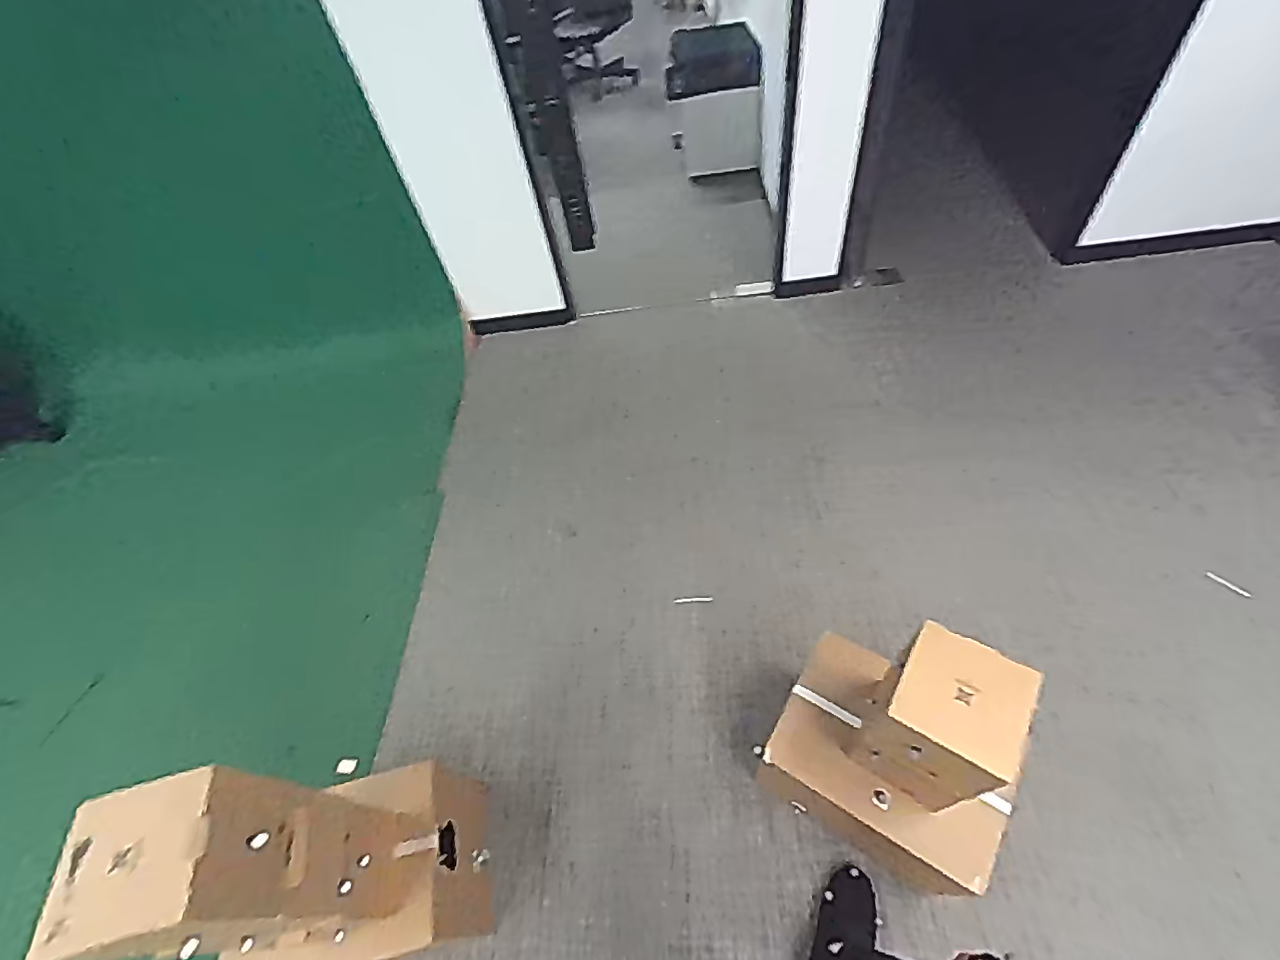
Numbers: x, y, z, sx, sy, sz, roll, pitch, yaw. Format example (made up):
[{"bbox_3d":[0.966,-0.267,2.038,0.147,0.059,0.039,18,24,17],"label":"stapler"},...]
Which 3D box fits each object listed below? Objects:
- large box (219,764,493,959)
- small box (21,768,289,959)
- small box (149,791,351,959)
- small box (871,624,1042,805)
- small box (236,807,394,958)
[{"bbox_3d":[-0.566,0.855,1.149,0.408,0.320,0.320,-16,50,-2],"label":"large box"},{"bbox_3d":[-0.598,0.497,0.701,0.179,0.176,0.168,-14,51,-3],"label":"small box"},{"bbox_3d":[-0.574,0.599,0.828,0.179,0.176,0.168,-16,51,-3],"label":"small box"},{"bbox_3d":[0.476,0.364,0.835,0.168,0.176,0.179,25,58,26],"label":"small box"},{"bbox_3d":[-0.555,0.703,0.953,0.168,0.176,0.179,-14,51,-2],"label":"small box"}]
